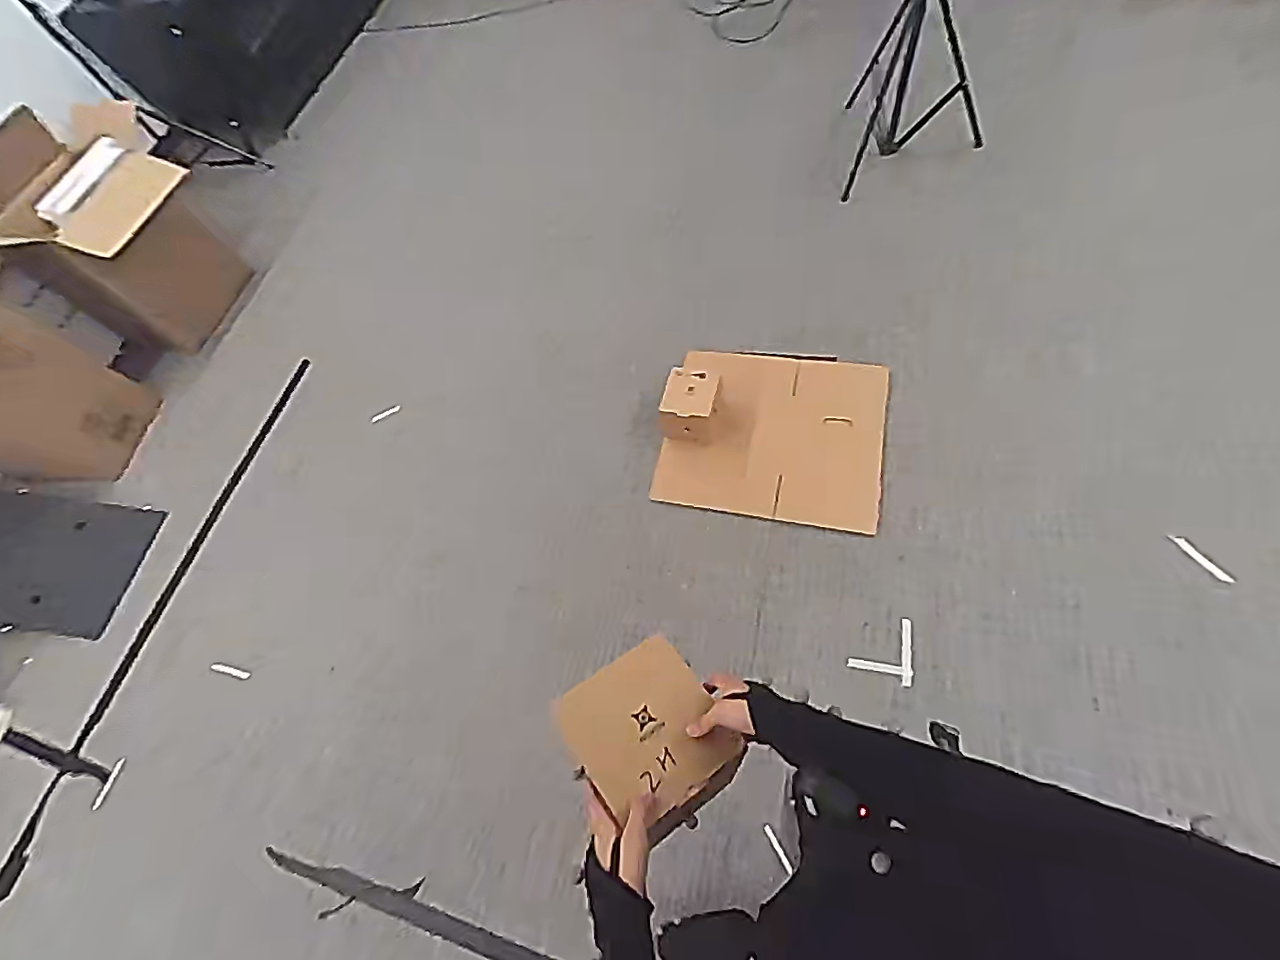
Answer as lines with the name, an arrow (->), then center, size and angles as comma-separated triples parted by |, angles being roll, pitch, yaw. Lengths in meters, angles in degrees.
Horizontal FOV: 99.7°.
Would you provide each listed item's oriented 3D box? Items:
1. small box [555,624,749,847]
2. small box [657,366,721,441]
small box -> 0.009, 0.323, 0.683 | 0.168, 0.176, 0.179 | -26, 55, -21
small box -> 0.166, -0.246, 1.765 | 0.168, 0.176, 0.179 | 10, 68, 17
